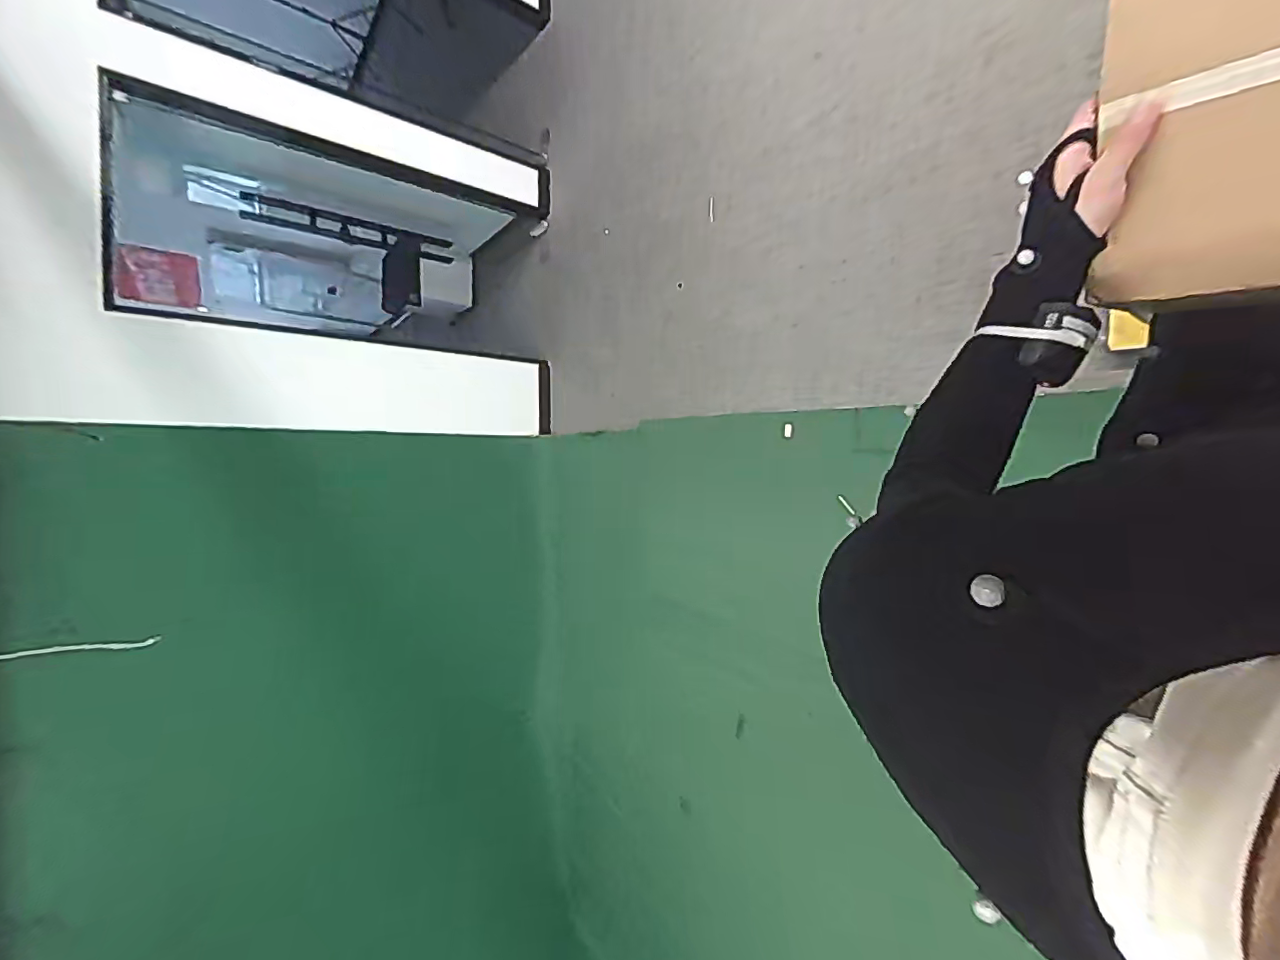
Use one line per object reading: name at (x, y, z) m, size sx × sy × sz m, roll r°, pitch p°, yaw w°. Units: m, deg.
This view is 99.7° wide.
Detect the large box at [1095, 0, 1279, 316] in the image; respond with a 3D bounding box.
large box at (0.653, -0.323, 0.433) m, size 0.408 × 0.320 × 0.320 m, roll 7°, pitch 106°, yaw 47°
